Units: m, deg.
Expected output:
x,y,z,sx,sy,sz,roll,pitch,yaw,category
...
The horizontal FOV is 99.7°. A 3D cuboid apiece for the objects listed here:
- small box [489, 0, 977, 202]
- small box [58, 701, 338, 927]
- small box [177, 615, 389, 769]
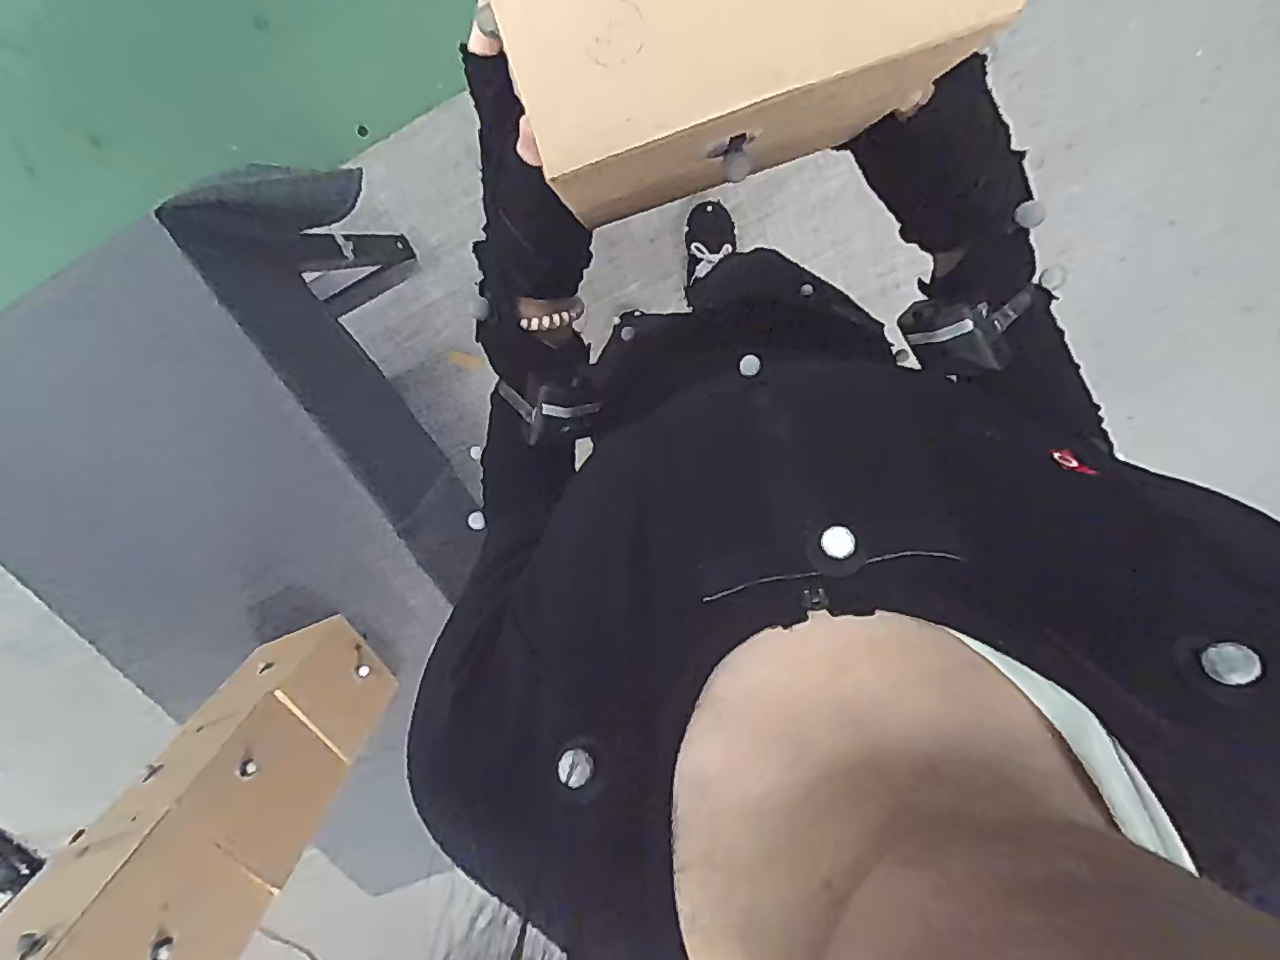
x,y,z,sx,sy,sz,roll,pitch,yaw,category
0.022,-0.242,0.238,0.179,0.176,0.168,-16,108,5,small box
-0.537,0.411,0.688,0.168,0.176,0.179,-24,111,12,small box
-0.532,0.341,0.835,0.179,0.176,0.168,-22,111,10,small box
